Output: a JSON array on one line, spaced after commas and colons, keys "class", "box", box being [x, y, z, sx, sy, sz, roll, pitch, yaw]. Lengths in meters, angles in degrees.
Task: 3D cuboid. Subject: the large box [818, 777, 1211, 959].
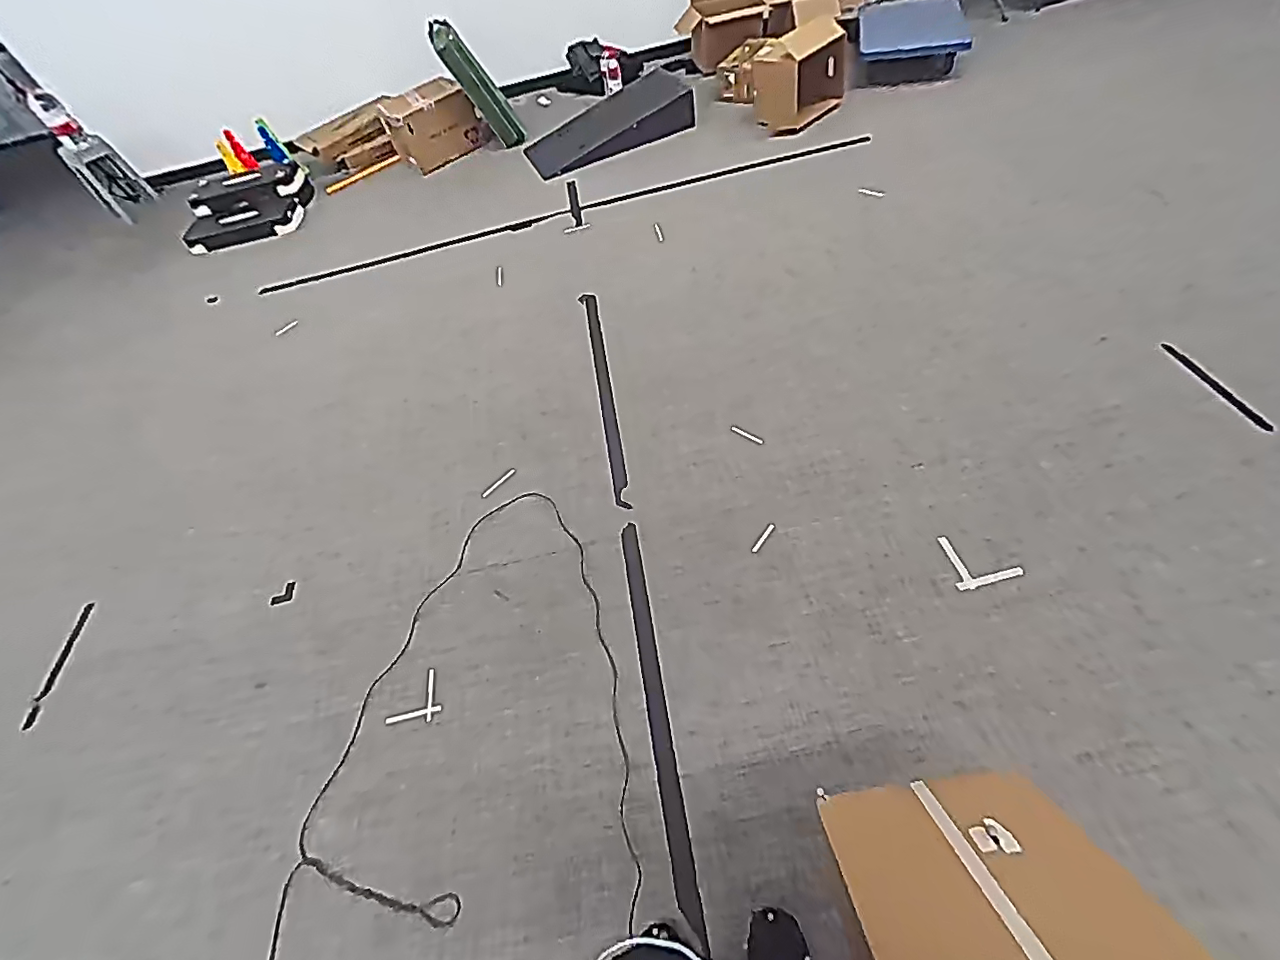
[{"class": "large box", "box": [0.449, 0.644, 0.655, 0.320, 0.408, 0.320, -10, 91, 4]}]
